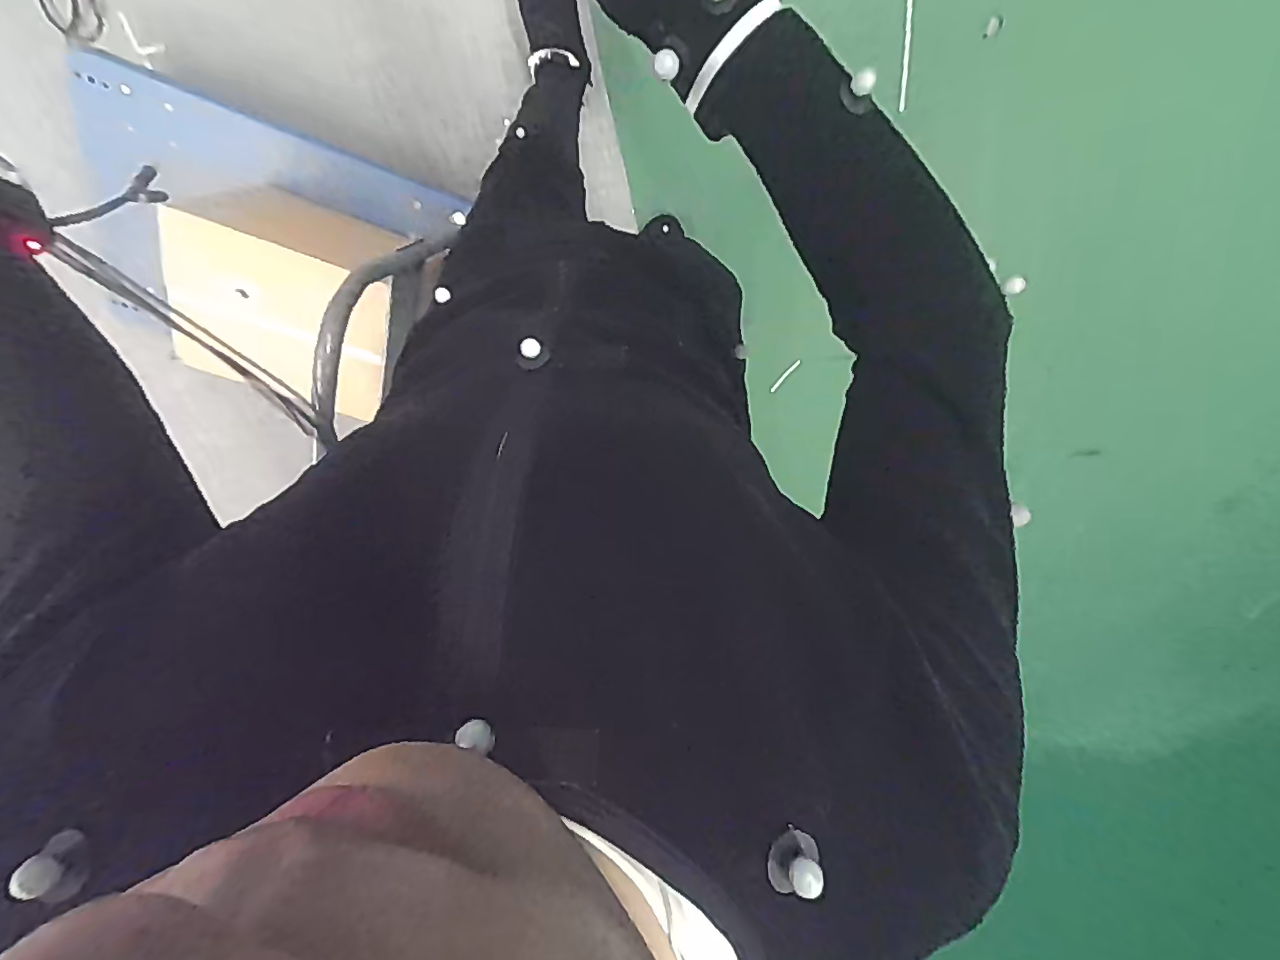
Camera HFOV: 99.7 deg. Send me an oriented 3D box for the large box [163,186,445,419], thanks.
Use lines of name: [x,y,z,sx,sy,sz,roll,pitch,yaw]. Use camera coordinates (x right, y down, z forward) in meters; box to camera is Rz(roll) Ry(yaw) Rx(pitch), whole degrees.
large box: [-0.682,-0.386,1.167,0.408,0.320,0.320,18,122,-10]
